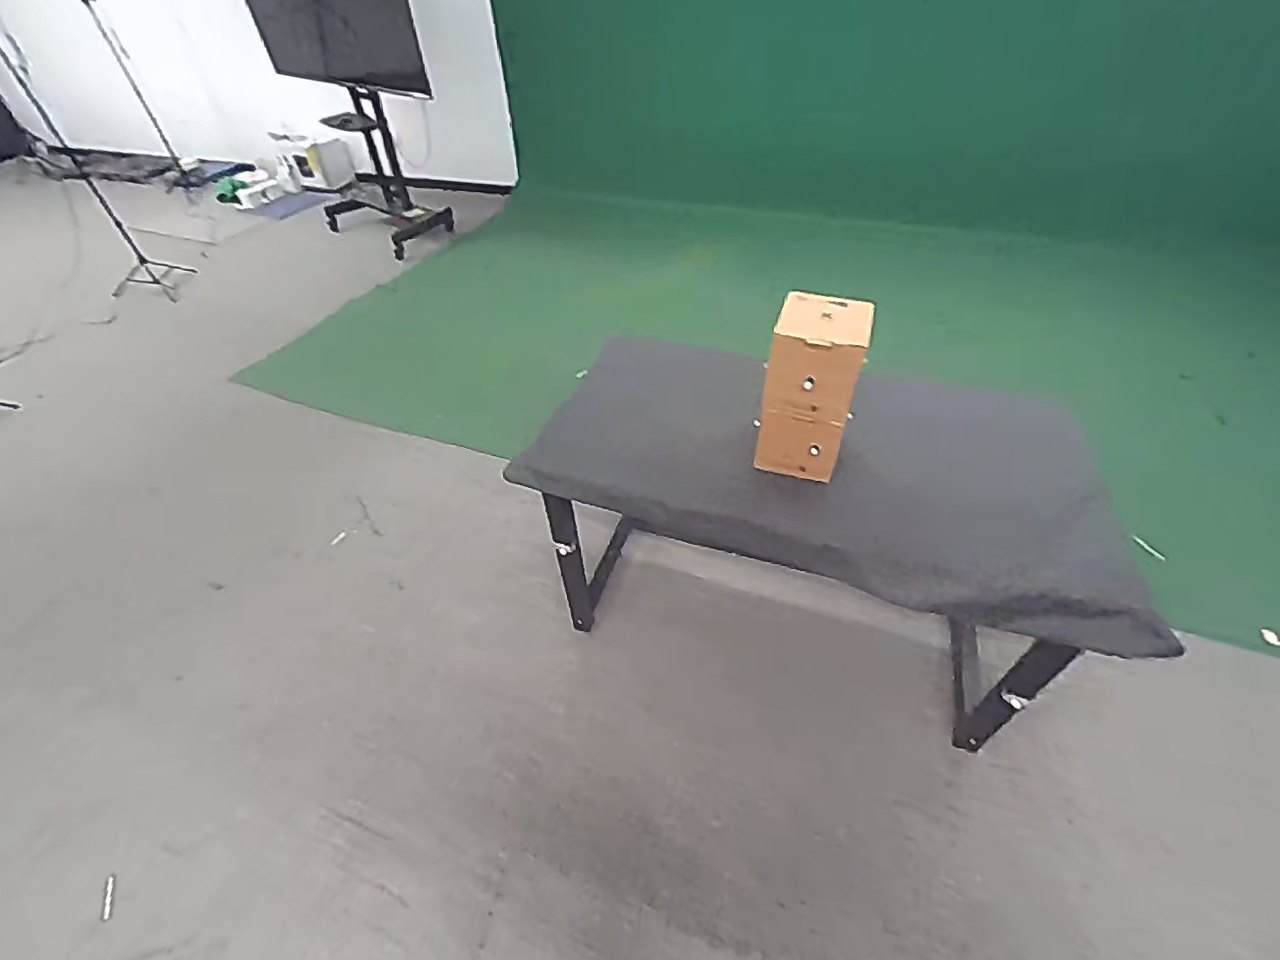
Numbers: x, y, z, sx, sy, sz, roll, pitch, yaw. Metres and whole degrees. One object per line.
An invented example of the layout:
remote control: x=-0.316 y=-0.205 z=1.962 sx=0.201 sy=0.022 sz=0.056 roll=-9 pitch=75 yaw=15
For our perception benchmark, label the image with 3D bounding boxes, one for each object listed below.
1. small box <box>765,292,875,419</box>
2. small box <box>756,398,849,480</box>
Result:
small box: x=0.353 y=-0.245 z=1.077 sx=0.168 sy=0.176 sz=0.179 roll=15 pitch=49 yaw=15
small box: x=0.358 y=-0.126 z=1.189 sx=0.168 sy=0.176 sz=0.179 roll=14 pitch=46 yaw=14
